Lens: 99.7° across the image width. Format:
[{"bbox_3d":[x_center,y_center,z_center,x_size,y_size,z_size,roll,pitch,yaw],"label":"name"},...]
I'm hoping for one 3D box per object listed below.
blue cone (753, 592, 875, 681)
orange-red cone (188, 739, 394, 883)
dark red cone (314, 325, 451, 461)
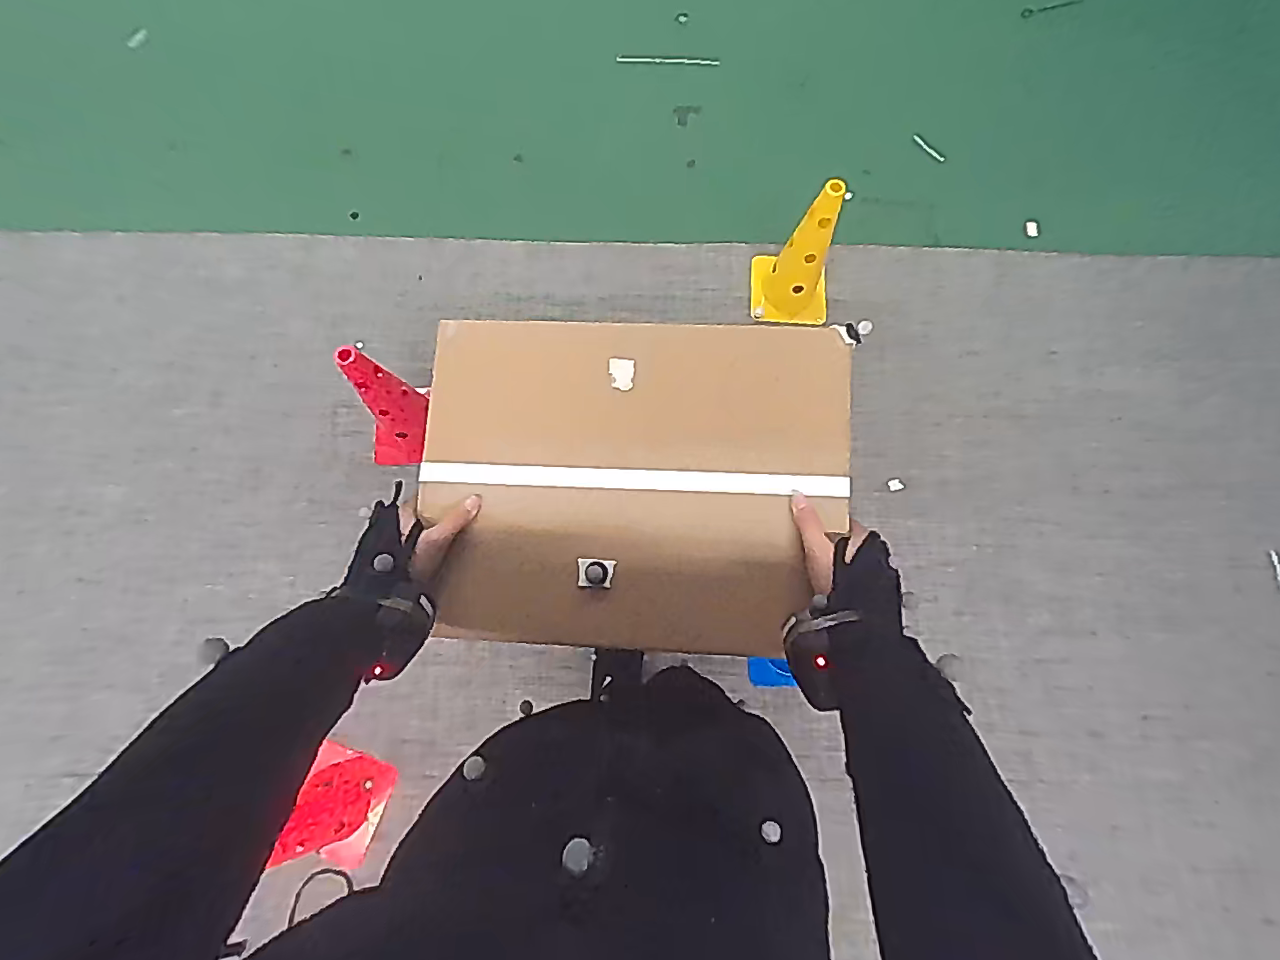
[{"bbox_3d":[0.348,0.302,1.044,0.192,0.380,0.193,1,75,0],"label":"blue cone"},{"bbox_3d":[-0.628,0.608,0.940,0.199,0.360,0.198,20,74,7],"label":"orange-red cone"},{"bbox_3d":[-0.557,-0.199,1.145,0.202,0.394,0.201,-6,71,-2],"label":"dark red cone"}]
